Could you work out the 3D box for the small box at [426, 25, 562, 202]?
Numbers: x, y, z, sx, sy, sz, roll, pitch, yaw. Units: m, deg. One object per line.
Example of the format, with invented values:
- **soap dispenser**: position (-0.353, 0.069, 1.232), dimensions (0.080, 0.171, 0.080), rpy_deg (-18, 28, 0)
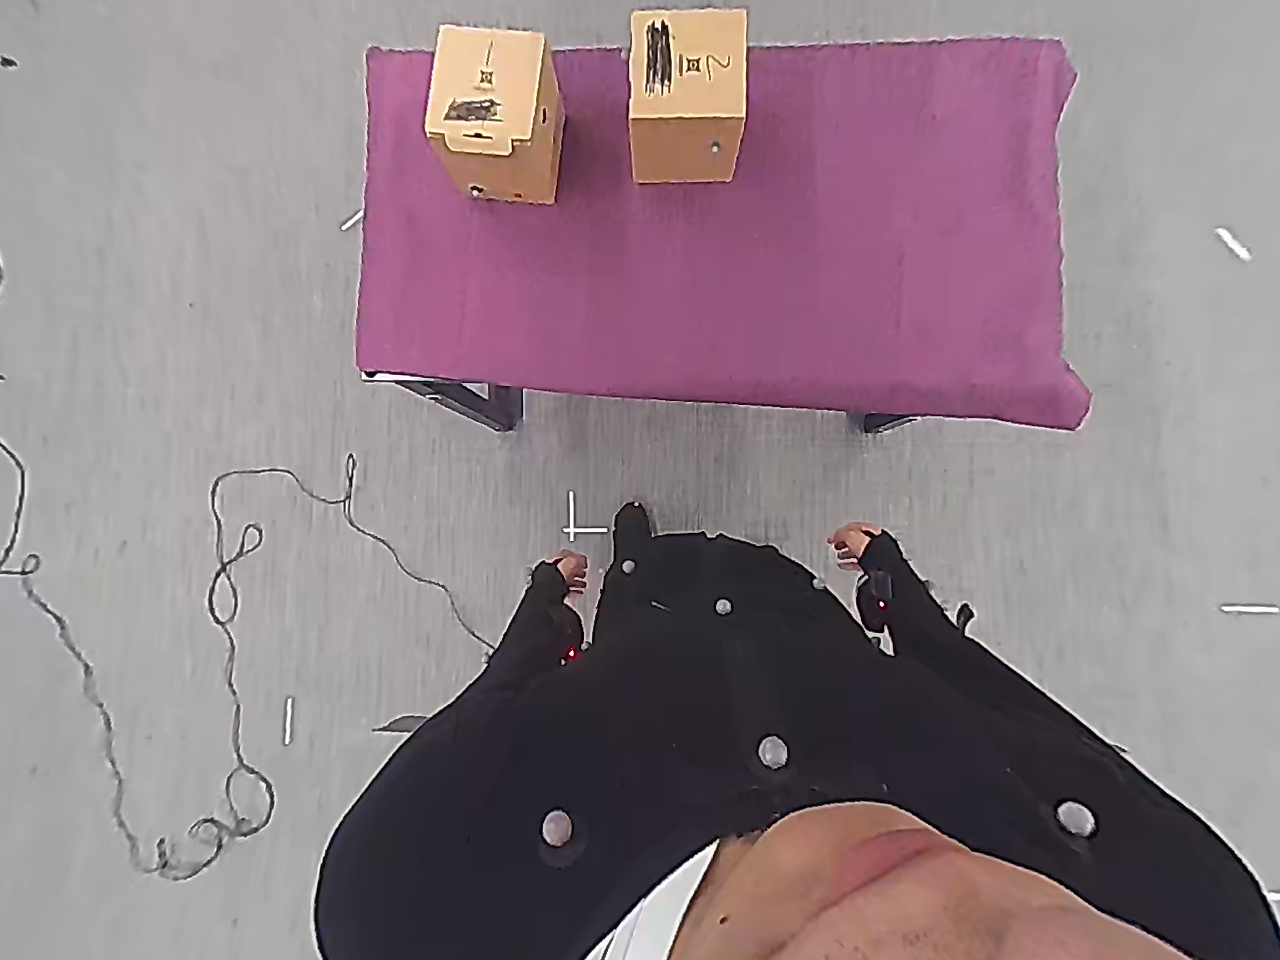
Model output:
- **small box**: position (-0.228, -0.588, 0.888), dimensions (0.168, 0.176, 0.179), rpy_deg (6, 87, 2)
